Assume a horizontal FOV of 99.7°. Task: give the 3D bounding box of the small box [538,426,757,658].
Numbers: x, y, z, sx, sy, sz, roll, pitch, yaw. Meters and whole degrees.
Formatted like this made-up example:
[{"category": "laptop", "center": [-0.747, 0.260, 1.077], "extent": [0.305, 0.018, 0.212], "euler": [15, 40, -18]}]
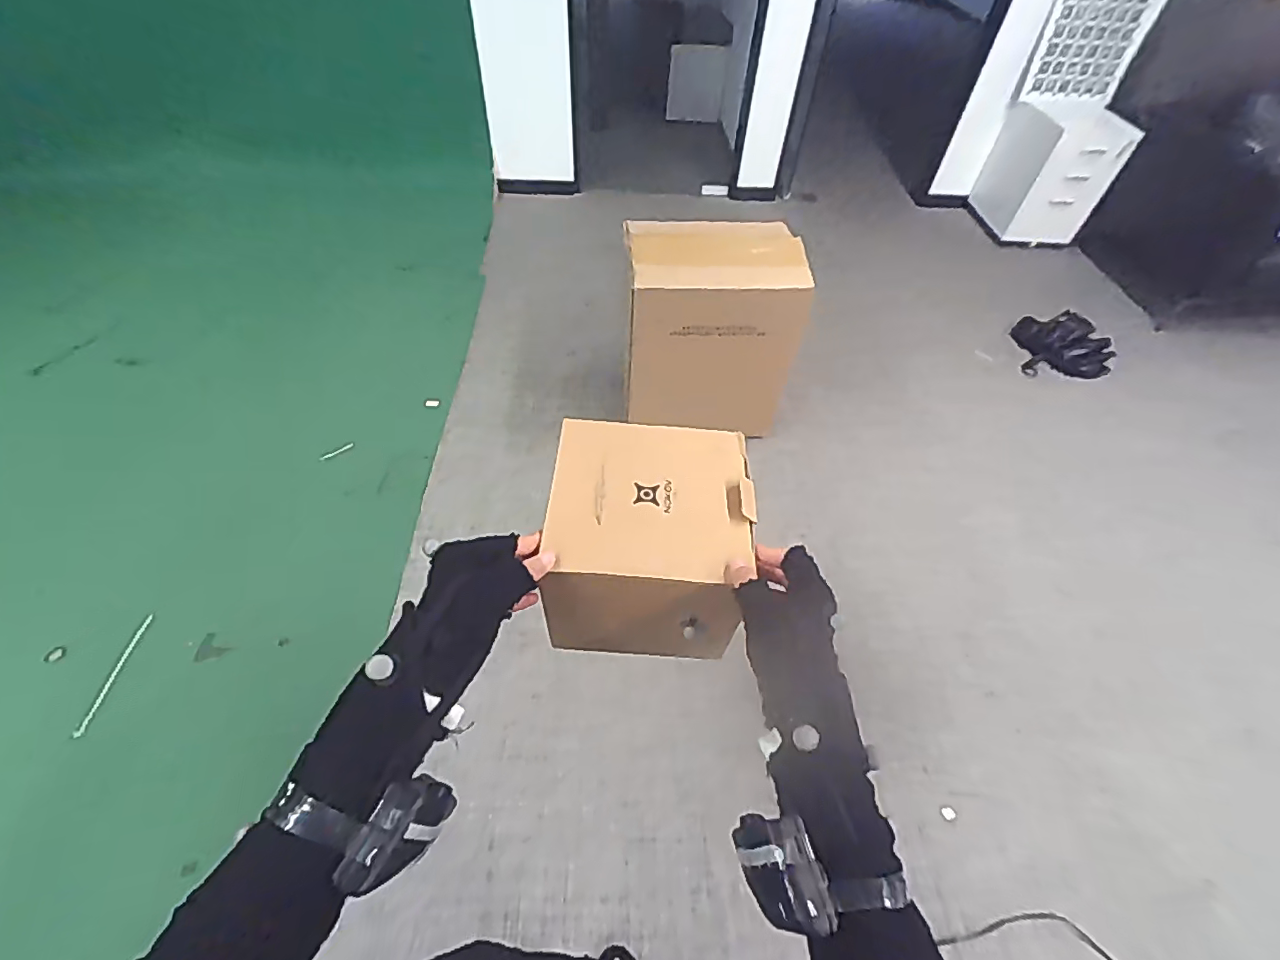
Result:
[{"category": "small box", "center": [0.007, 0.067, 0.536], "extent": [0.179, 0.176, 0.168], "euler": [2, 51, 0]}]
